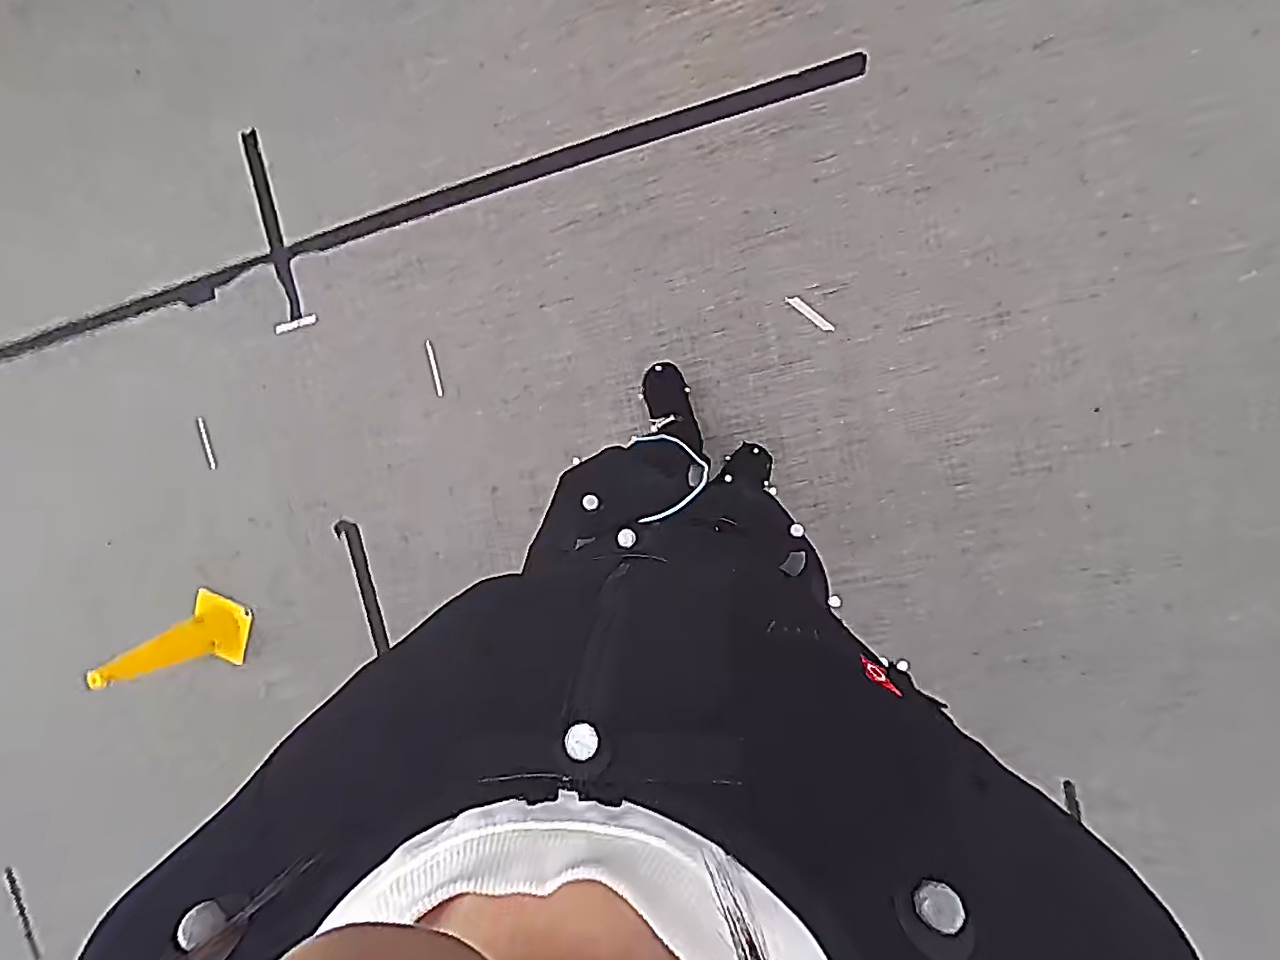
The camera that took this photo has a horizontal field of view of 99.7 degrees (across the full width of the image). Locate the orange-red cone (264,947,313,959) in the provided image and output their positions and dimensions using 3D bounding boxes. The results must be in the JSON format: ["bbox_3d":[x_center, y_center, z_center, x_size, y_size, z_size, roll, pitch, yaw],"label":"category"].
[{"bbox_3d":[-1.259,1.759,1.737,0.198,0.360,0.199,-3,96,10],"label":"orange-red cone"}]
